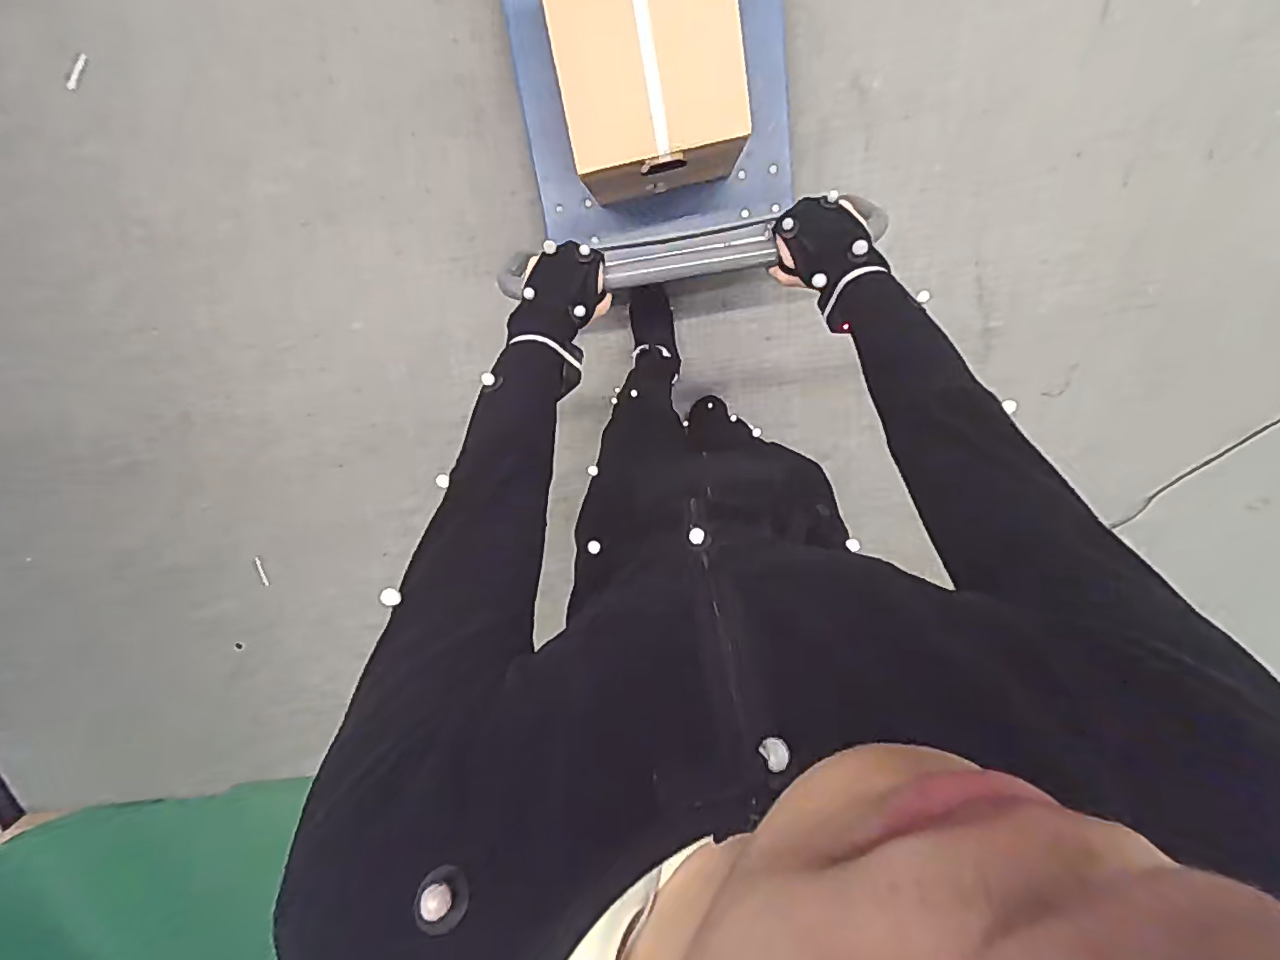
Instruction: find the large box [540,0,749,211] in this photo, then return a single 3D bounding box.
[{"bbox_3d":[0.012,-0.791,1.044,0.320,0.320,0.408,-10,107,6],"label":"large box"}]
